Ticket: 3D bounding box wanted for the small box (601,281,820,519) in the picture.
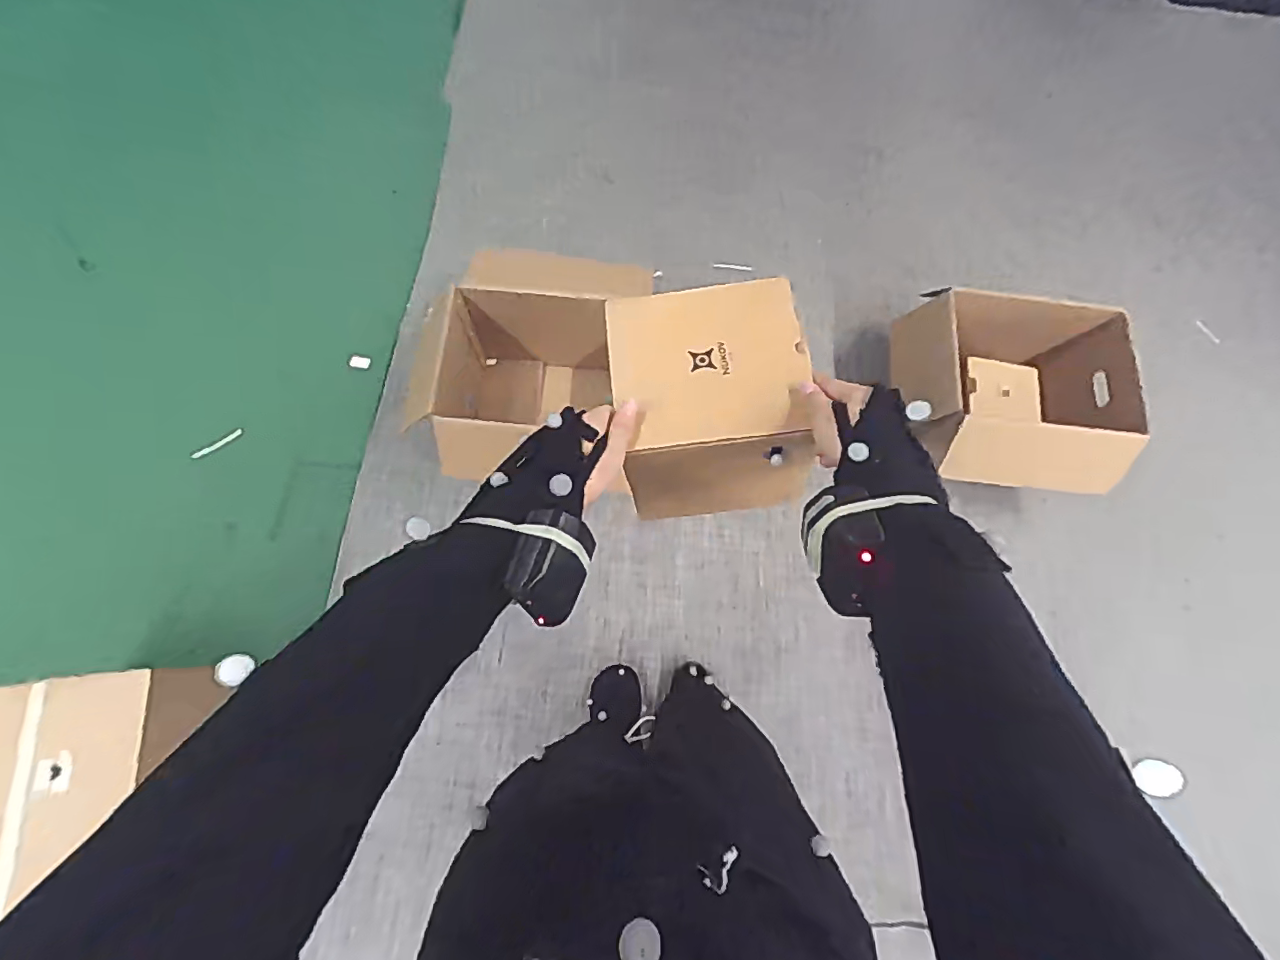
[{"bbox_3d":[0.062,-0.068,0.544,0.179,0.176,0.168,-6,65,2],"label":"small box"}]
